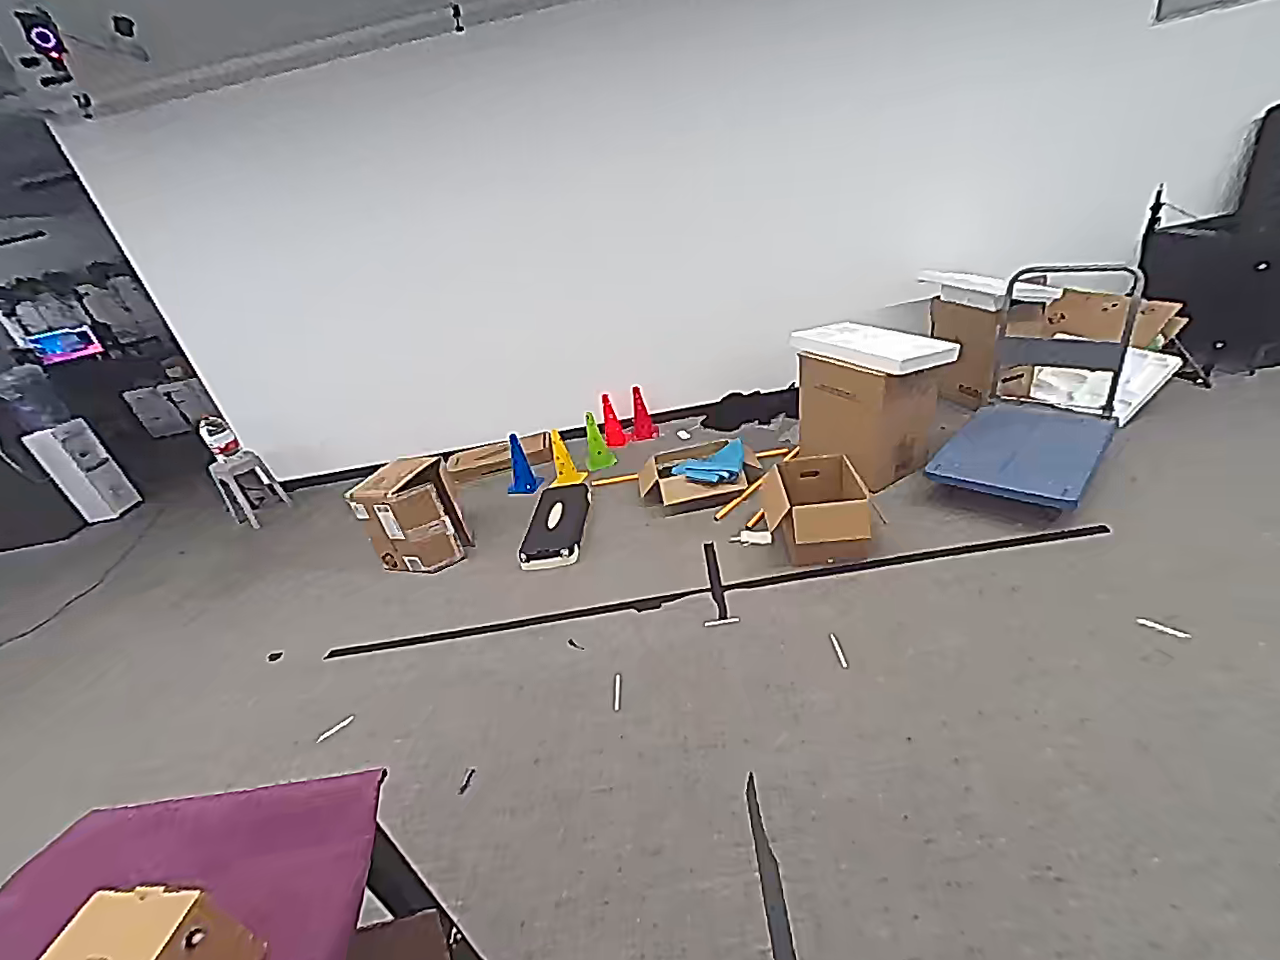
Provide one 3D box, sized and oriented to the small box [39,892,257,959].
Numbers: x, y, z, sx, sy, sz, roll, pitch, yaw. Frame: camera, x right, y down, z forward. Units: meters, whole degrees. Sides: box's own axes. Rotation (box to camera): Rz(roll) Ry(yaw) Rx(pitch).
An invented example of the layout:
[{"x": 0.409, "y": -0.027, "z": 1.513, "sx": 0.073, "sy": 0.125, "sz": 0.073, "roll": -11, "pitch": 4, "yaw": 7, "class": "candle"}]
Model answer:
[{"x": -0.623, "y": 0.641, "z": 0.657, "sx": 0.168, "sy": 0.176, "sz": 0.179, "roll": -8, "pitch": 28, "yaw": 9, "class": "small box"}]
